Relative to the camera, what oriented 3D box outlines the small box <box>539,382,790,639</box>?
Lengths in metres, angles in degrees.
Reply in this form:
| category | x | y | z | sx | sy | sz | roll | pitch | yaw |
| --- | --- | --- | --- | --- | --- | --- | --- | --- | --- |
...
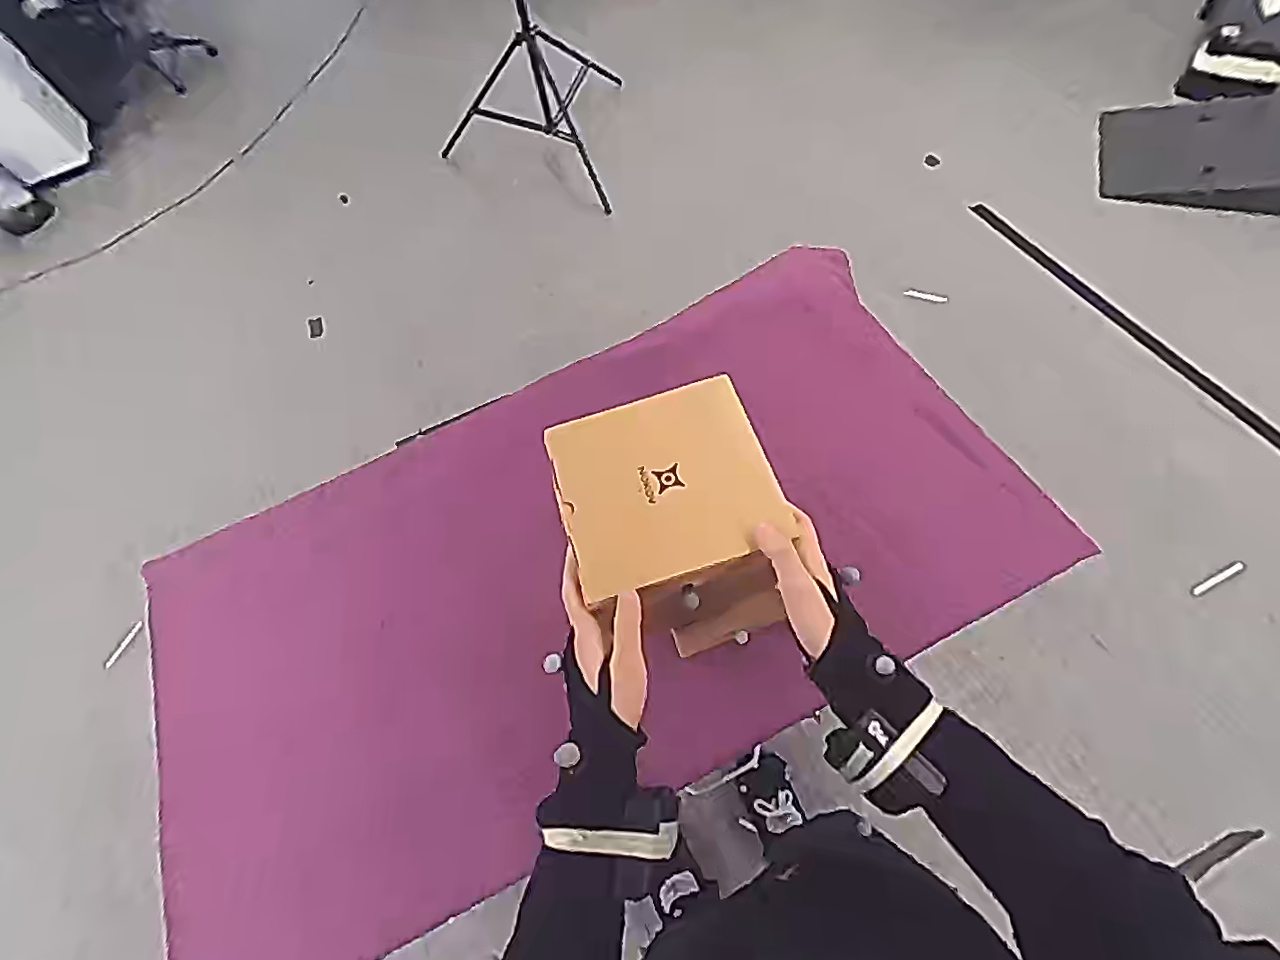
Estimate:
| category | x | y | z | sx | sy | sz | roll | pitch | yaw |
| --- | --- | --- | --- | --- | --- | --- | --- | --- | --- |
| small box | 0.022 | 0.039 | 0.520 | 0.179 | 0.176 | 0.168 | -18 | 64 | -1 |

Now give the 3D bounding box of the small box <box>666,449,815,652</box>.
| category | x | y | z | sx | sy | sz | roll | pitch | yaw |
| --- | --- | --- | --- | --- | --- | --- | --- | --- | --- |
| small box | 0.090 | 0.093 | 0.668 | 0.168 | 0.176 | 0.179 | -20 | 63 | -2 |
